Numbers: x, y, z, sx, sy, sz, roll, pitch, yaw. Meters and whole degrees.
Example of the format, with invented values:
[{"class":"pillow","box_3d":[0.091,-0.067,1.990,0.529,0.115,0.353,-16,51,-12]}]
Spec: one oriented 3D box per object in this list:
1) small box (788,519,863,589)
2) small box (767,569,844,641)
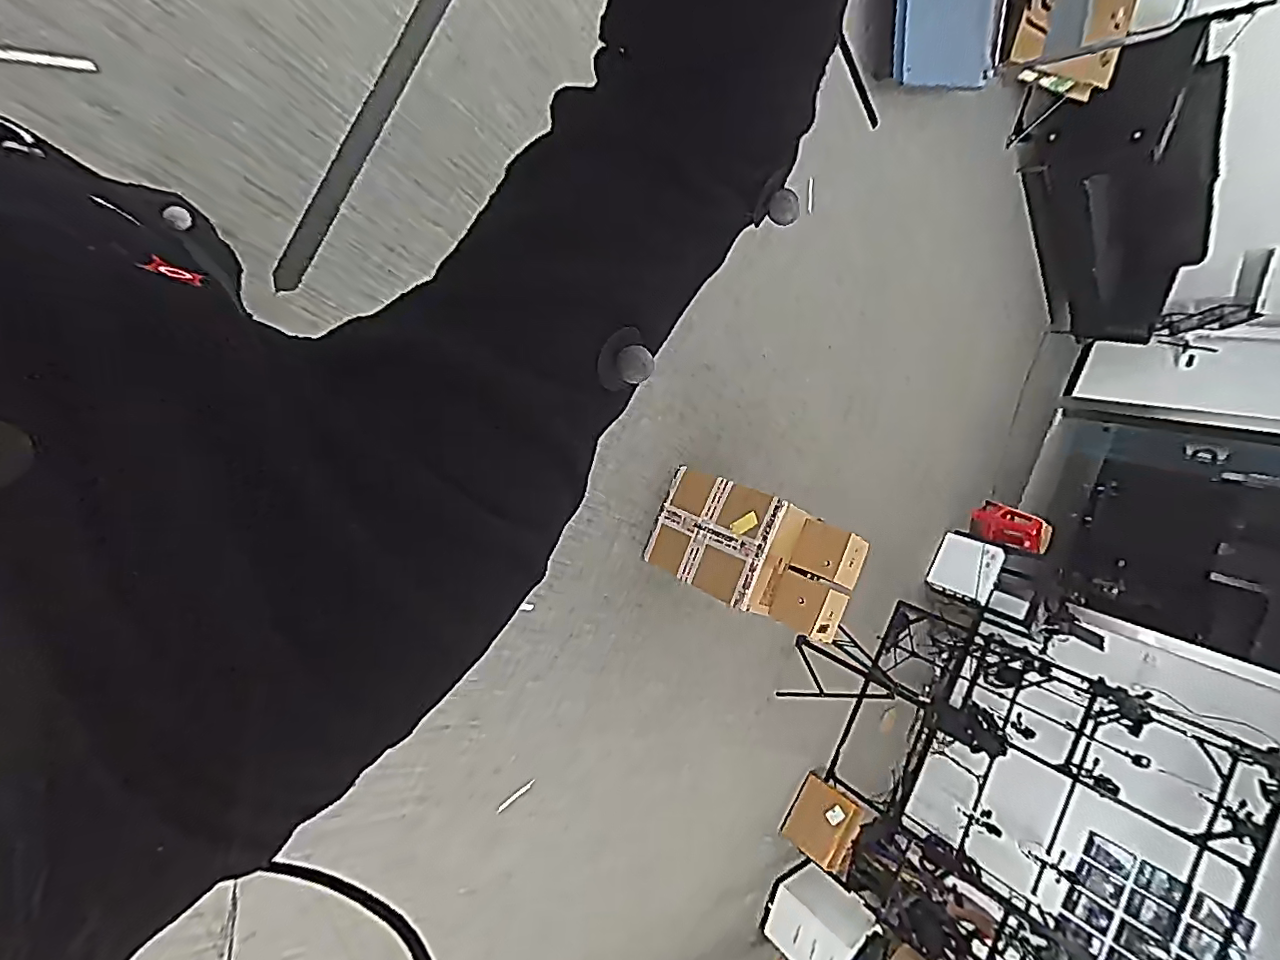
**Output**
[{"class":"small box","box_3d":[0.637,0.253,1.868,0.168,0.176,0.179,28,83,-44]},{"class":"small box","box_3d":[0.563,0.429,1.863,0.168,0.176,0.179,26,87,-43]}]
